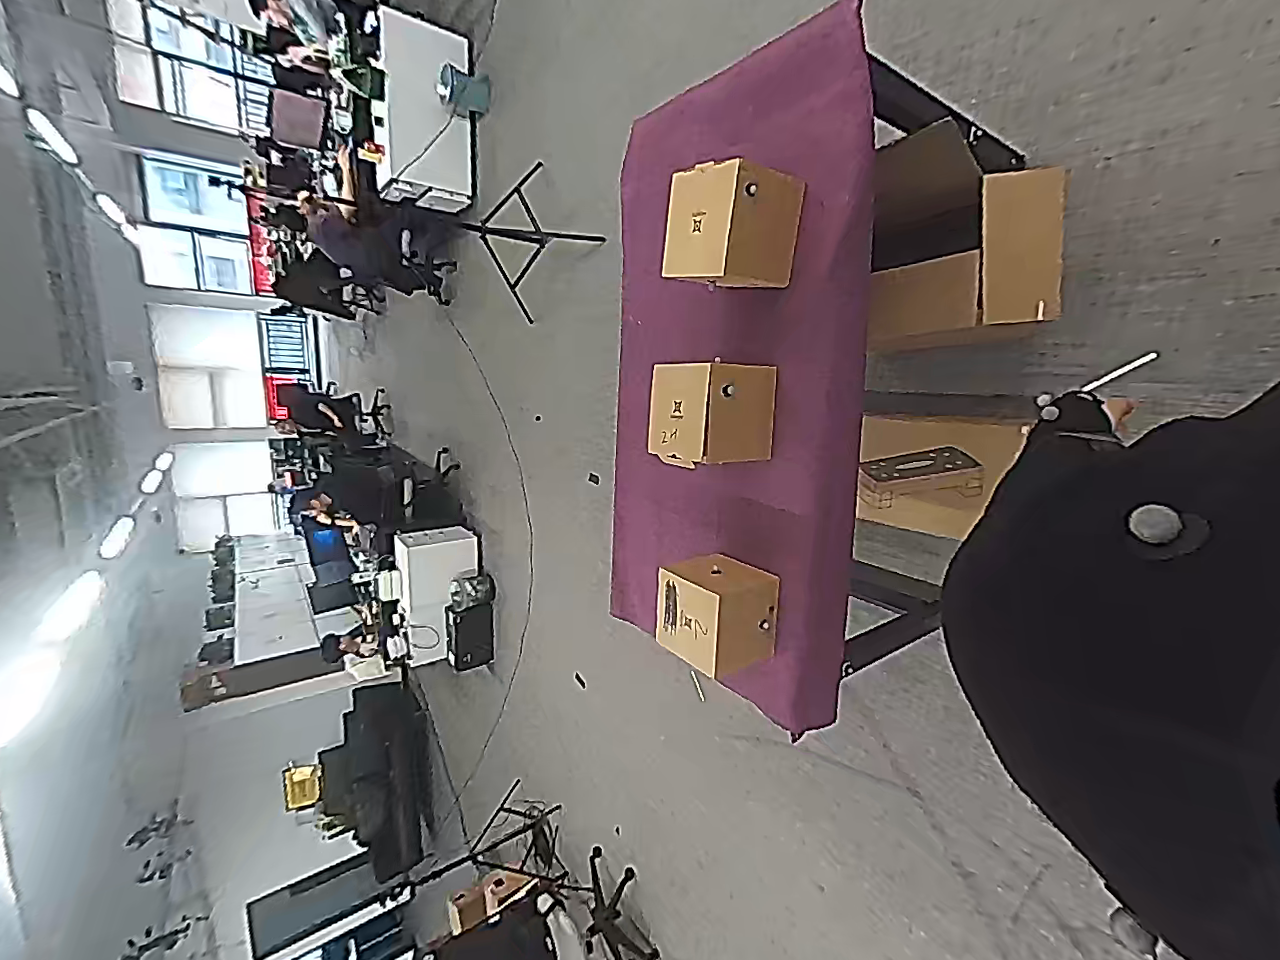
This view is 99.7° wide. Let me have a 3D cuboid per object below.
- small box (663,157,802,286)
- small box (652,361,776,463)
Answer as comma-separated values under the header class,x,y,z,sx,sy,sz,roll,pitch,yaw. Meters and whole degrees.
class,x,y,z,sx,sy,sz,roll,pitch,yaw
small box,0.162,-0.441,0.954,0.168,0.176,0.179,25,115,50
small box,0.141,-0.133,1.029,0.168,0.176,0.179,16,108,55
